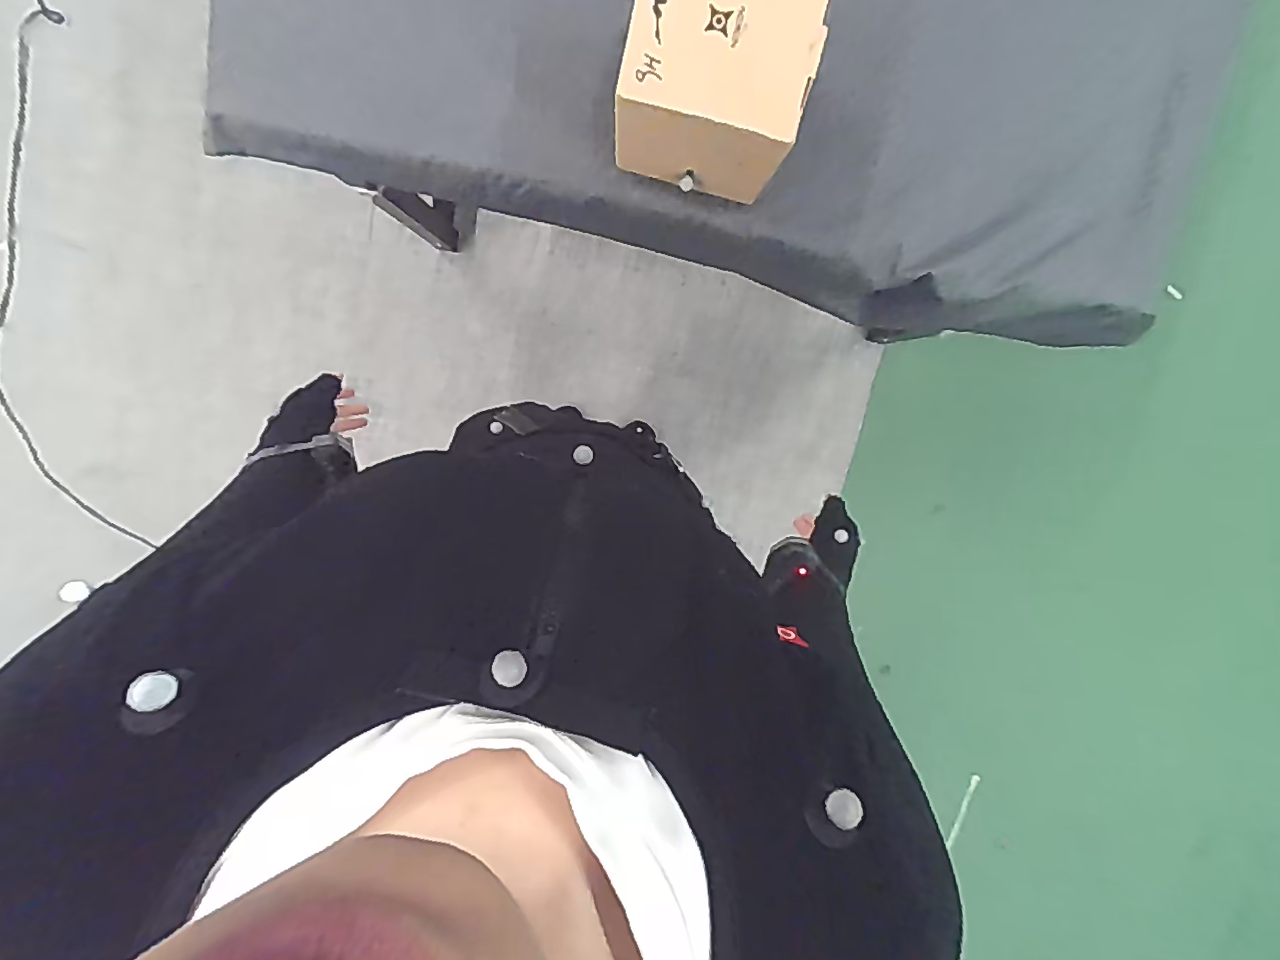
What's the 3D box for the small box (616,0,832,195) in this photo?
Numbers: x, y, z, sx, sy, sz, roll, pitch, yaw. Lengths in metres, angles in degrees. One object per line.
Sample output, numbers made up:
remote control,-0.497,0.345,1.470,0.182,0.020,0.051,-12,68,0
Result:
small box,0.077,-0.429,0.575,0.179,0.176,0.168,13,98,-5
